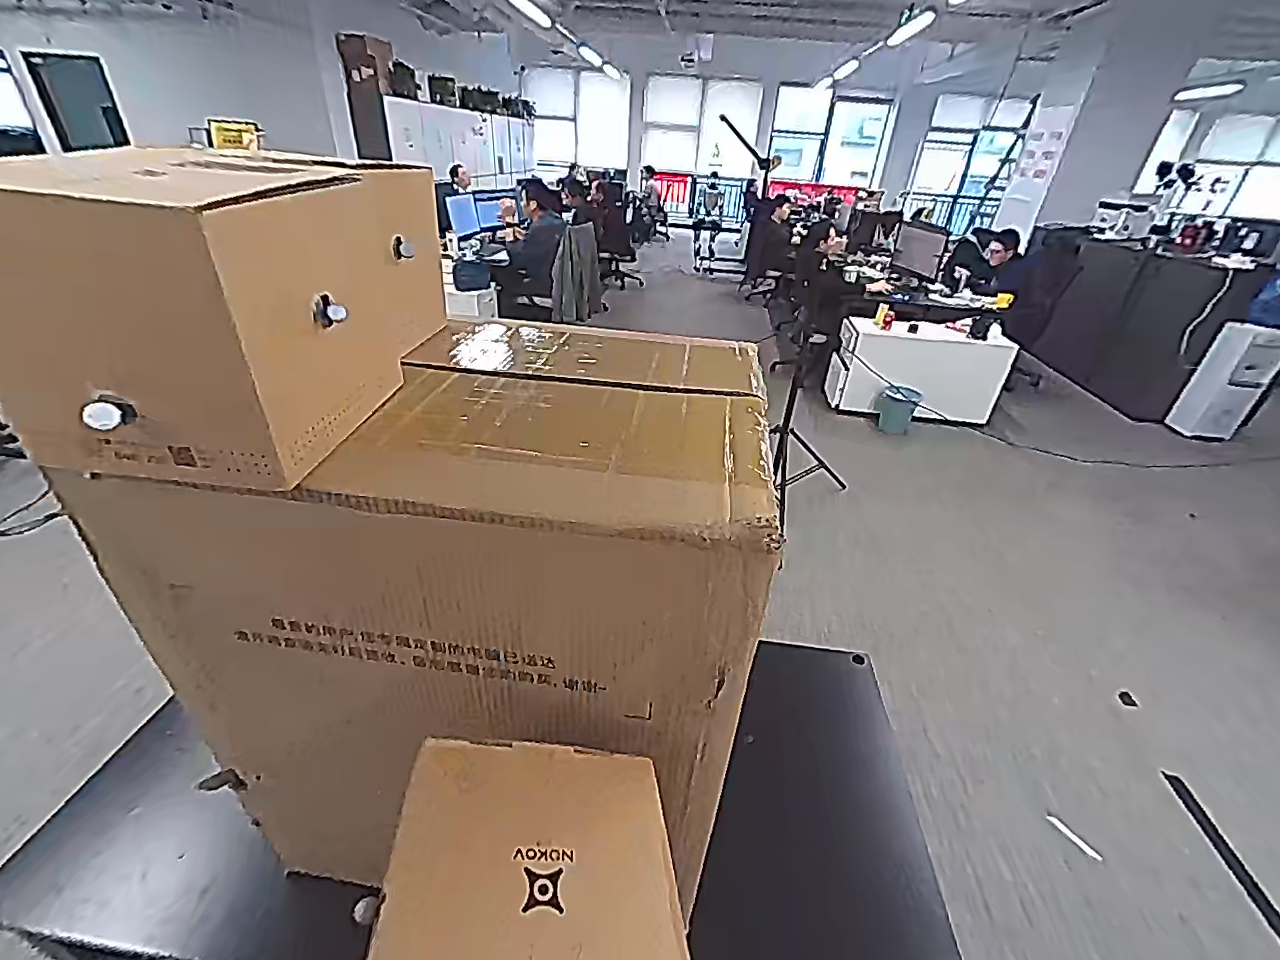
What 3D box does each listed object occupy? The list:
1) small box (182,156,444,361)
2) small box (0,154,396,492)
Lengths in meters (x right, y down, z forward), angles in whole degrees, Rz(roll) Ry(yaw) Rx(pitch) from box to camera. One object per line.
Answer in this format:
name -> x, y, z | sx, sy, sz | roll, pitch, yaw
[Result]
small box -> -0.306, -0.216, 0.534 | 0.168, 0.176, 0.179 | 5, 31, 0
small box -> -0.289, -0.114, 0.373 | 0.168, 0.176, 0.179 | 6, 35, 1
